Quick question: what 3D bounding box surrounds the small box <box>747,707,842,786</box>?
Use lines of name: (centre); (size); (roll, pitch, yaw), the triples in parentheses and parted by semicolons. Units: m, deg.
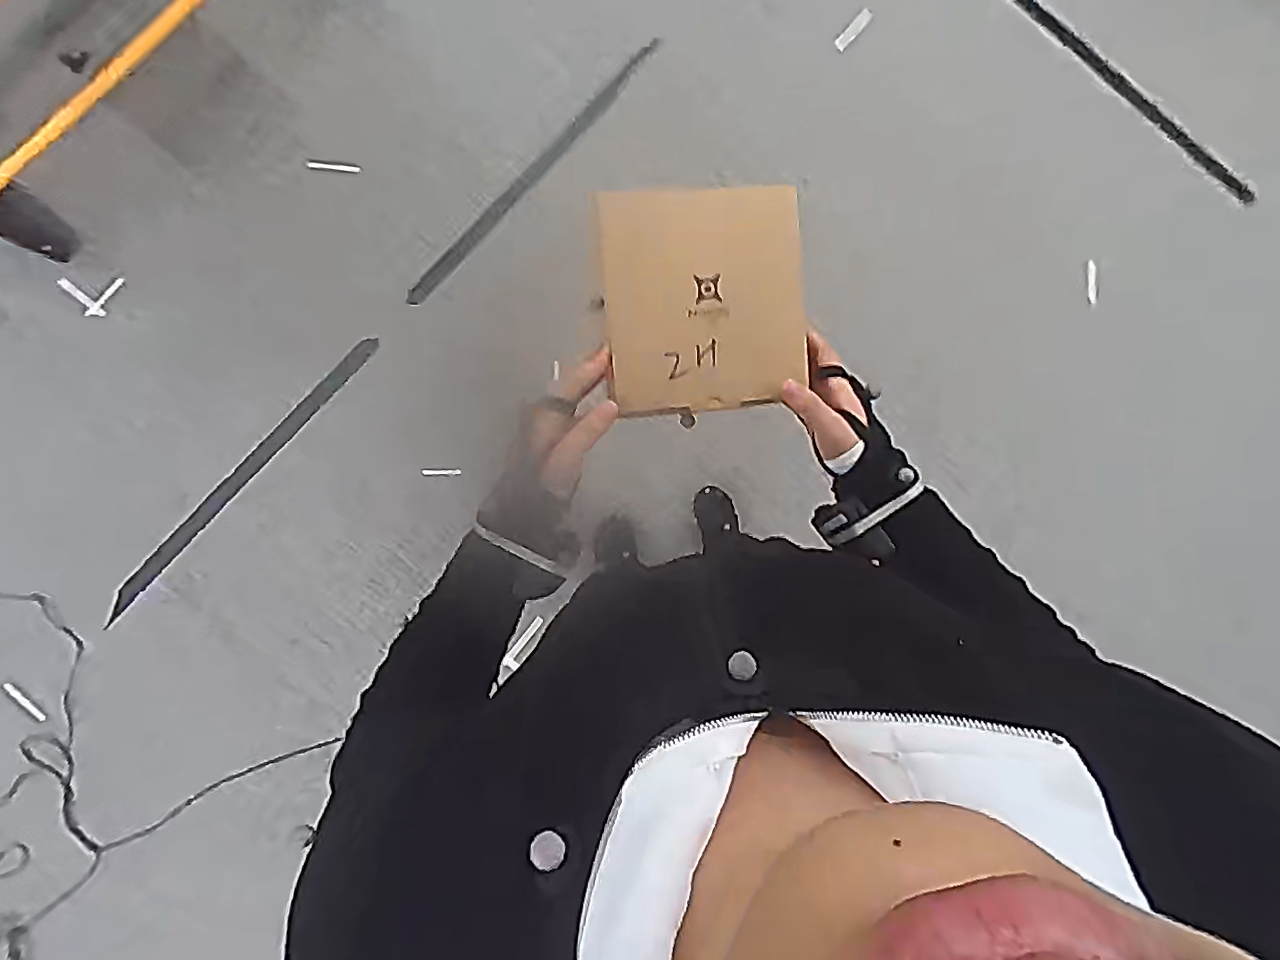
small box: (0.385, 0.678, 1.308); (0.179, 0.176, 0.168); (39, 87, 0)

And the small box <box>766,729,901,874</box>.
small box: (0.399, 0.666, 1.146); (0.179, 0.176, 0.168); (36, 86, -1)

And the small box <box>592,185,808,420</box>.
small box: (0.045, -0.155, 0.522); (0.168, 0.176, 0.179); (-7, 96, -6)
